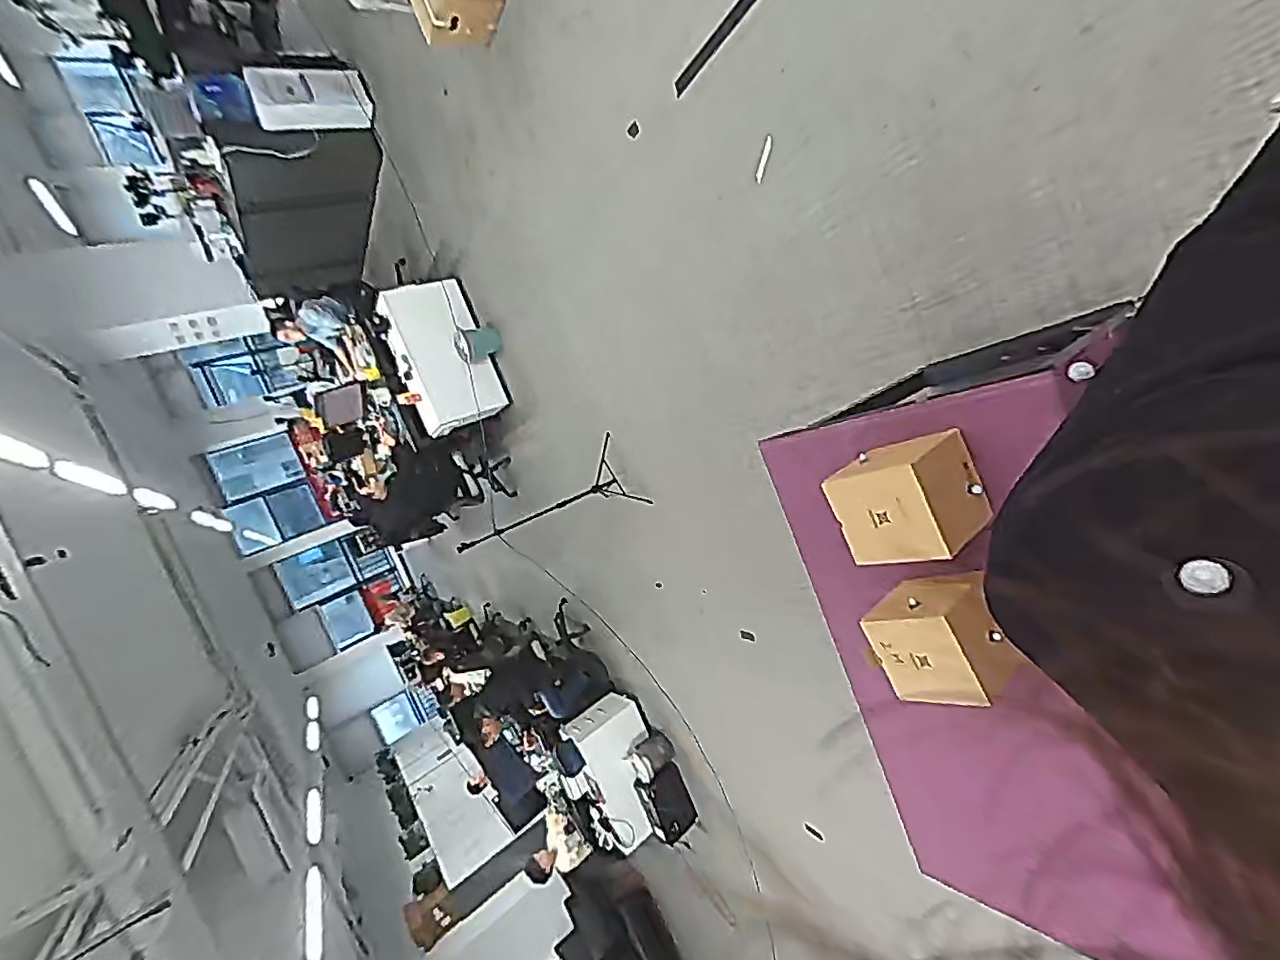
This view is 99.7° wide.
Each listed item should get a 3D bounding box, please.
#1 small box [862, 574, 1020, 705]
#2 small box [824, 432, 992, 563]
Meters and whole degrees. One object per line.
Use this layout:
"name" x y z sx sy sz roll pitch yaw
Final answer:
"small box" 0.554 0.286 0.989 0.168 0.176 0.179 63 149 2
"small box" 0.465 0.032 0.943 0.179 0.176 0.168 -20 96 59
